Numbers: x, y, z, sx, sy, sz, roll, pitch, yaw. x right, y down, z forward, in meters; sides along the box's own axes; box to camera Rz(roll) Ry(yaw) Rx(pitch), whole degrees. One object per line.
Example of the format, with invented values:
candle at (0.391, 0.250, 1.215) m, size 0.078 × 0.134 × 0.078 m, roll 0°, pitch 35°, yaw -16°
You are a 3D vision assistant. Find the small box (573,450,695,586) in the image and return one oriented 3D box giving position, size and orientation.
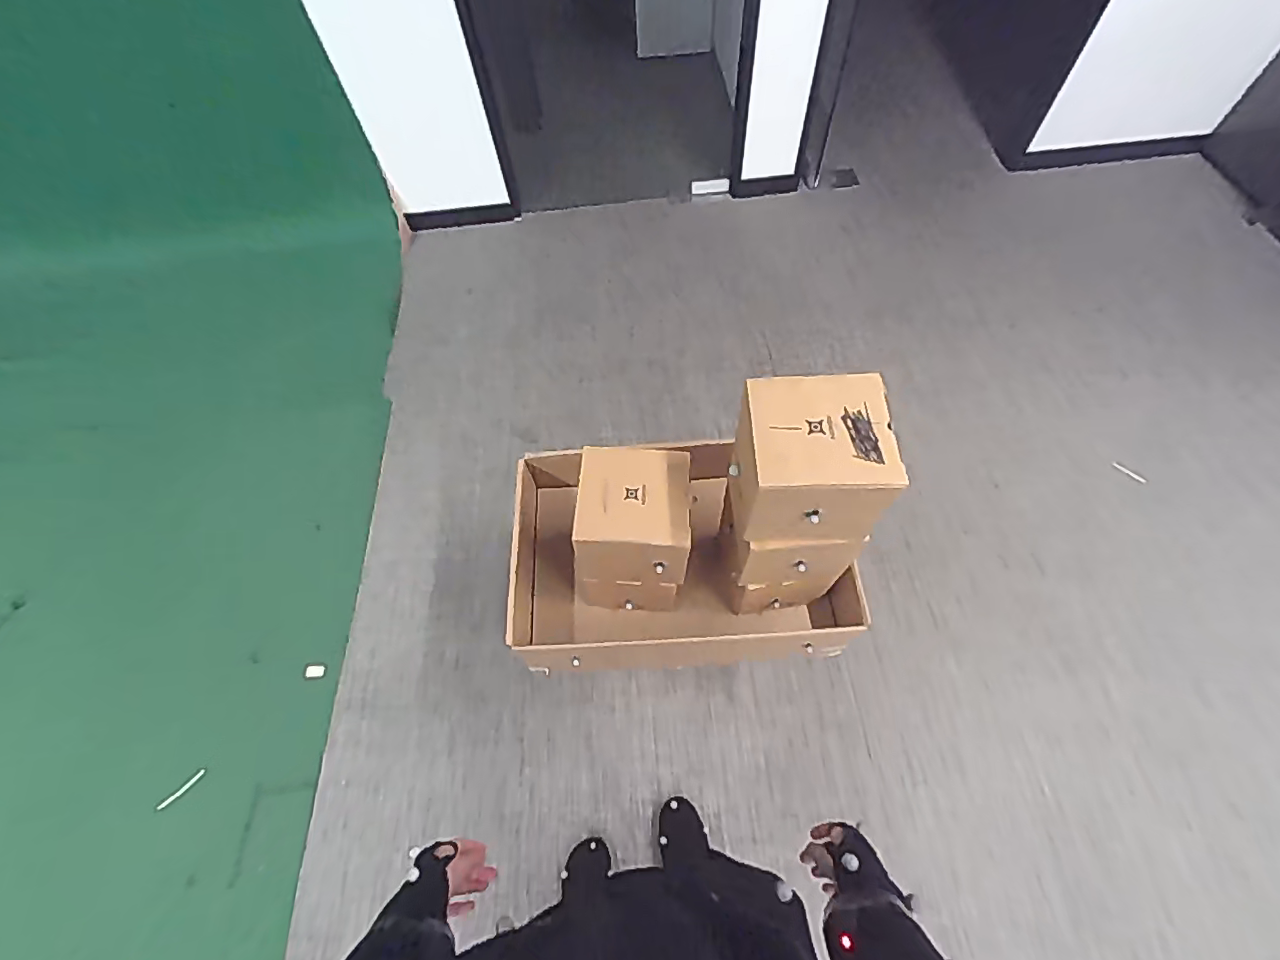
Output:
small box at (-0.006, 0.068, 0.889) m, size 0.179 × 0.176 × 0.168 m, roll 3°, pitch 59°, yaw 2°

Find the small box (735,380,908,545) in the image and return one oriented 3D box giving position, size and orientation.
small box at (0.229, -0.019, 0.734) m, size 0.179 × 0.176 × 0.168 m, roll -1°, pitch 61°, yaw 4°
